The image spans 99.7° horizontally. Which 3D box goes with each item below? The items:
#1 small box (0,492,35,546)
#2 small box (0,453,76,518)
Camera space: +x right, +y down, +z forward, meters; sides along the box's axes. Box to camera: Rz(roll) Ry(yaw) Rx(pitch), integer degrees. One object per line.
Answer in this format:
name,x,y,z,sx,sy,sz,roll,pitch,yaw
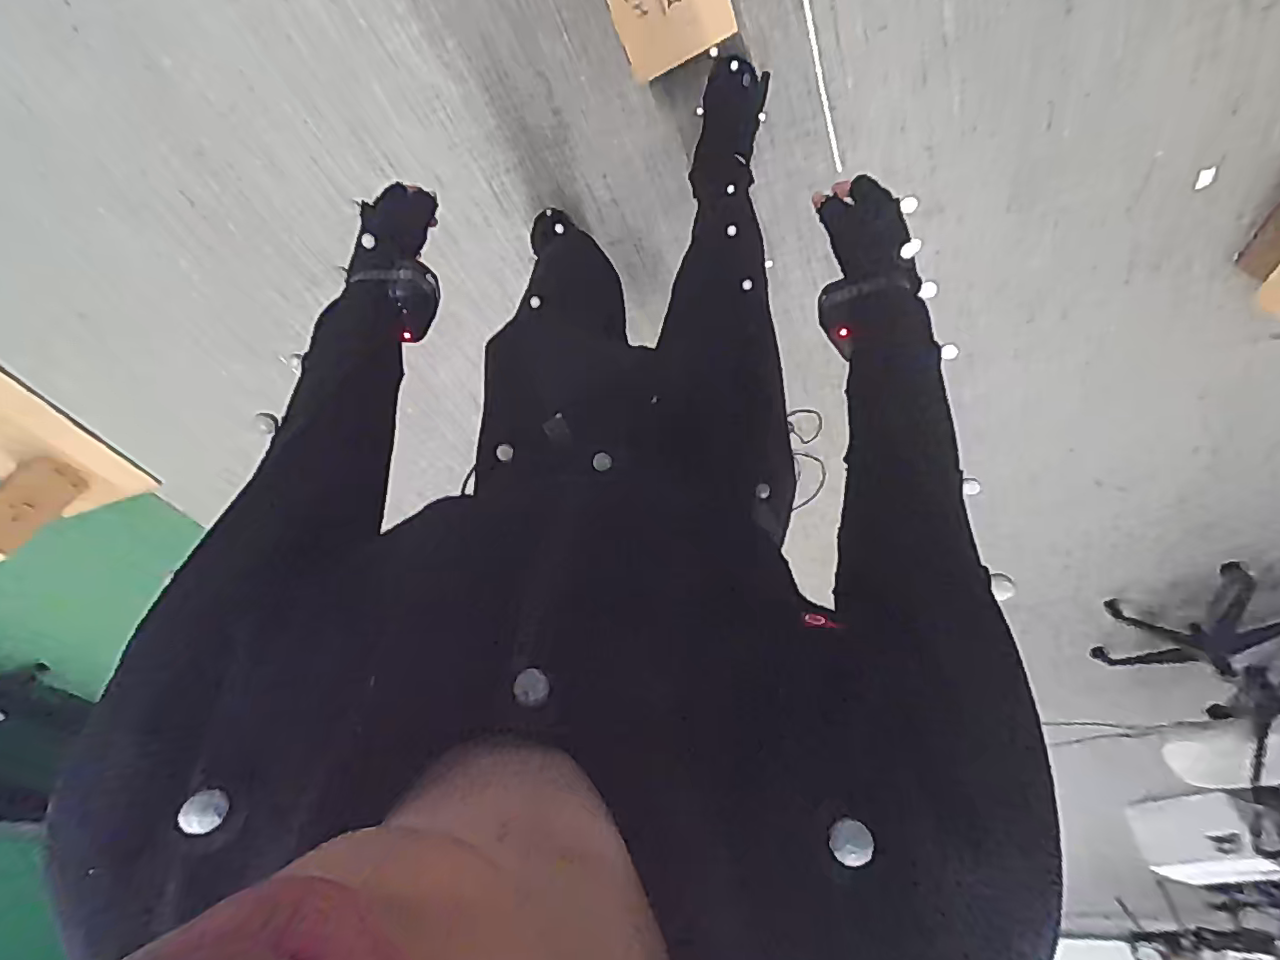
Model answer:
small box,-2.197,0.137,1.790,0.179,0.176,0.168,-11,133,17
small box,-2.169,0.023,1.903,0.179,0.176,0.168,-11,133,18
